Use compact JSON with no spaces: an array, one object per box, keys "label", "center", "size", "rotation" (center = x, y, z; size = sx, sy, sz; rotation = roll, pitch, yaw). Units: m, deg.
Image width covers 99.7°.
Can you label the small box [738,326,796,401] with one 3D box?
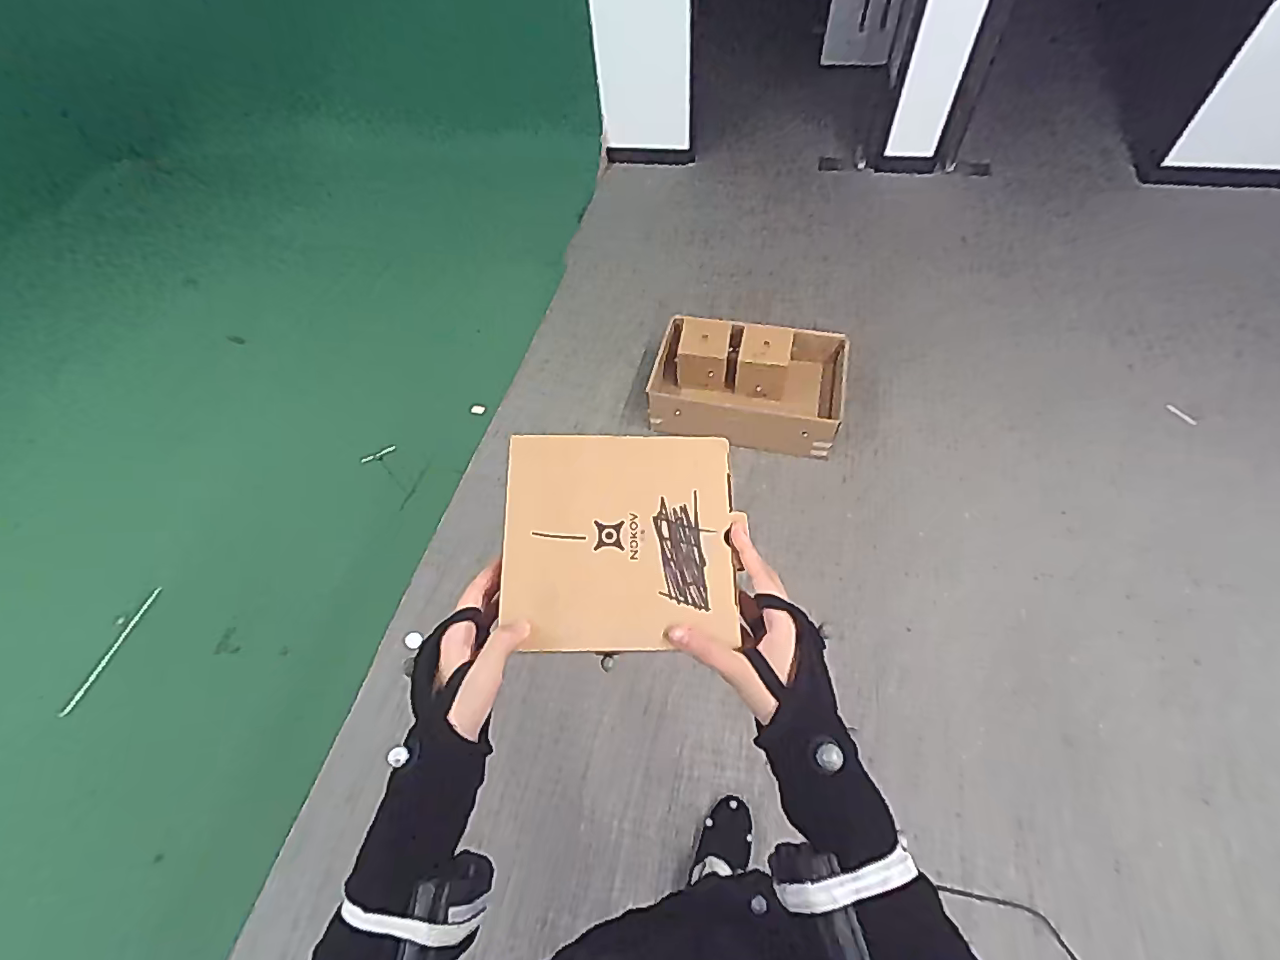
[{"label":"small box","center":[0.429,-0.397,1.845],"size":[0.168,0.176,0.179],"rotation":[9,58,13]}]
